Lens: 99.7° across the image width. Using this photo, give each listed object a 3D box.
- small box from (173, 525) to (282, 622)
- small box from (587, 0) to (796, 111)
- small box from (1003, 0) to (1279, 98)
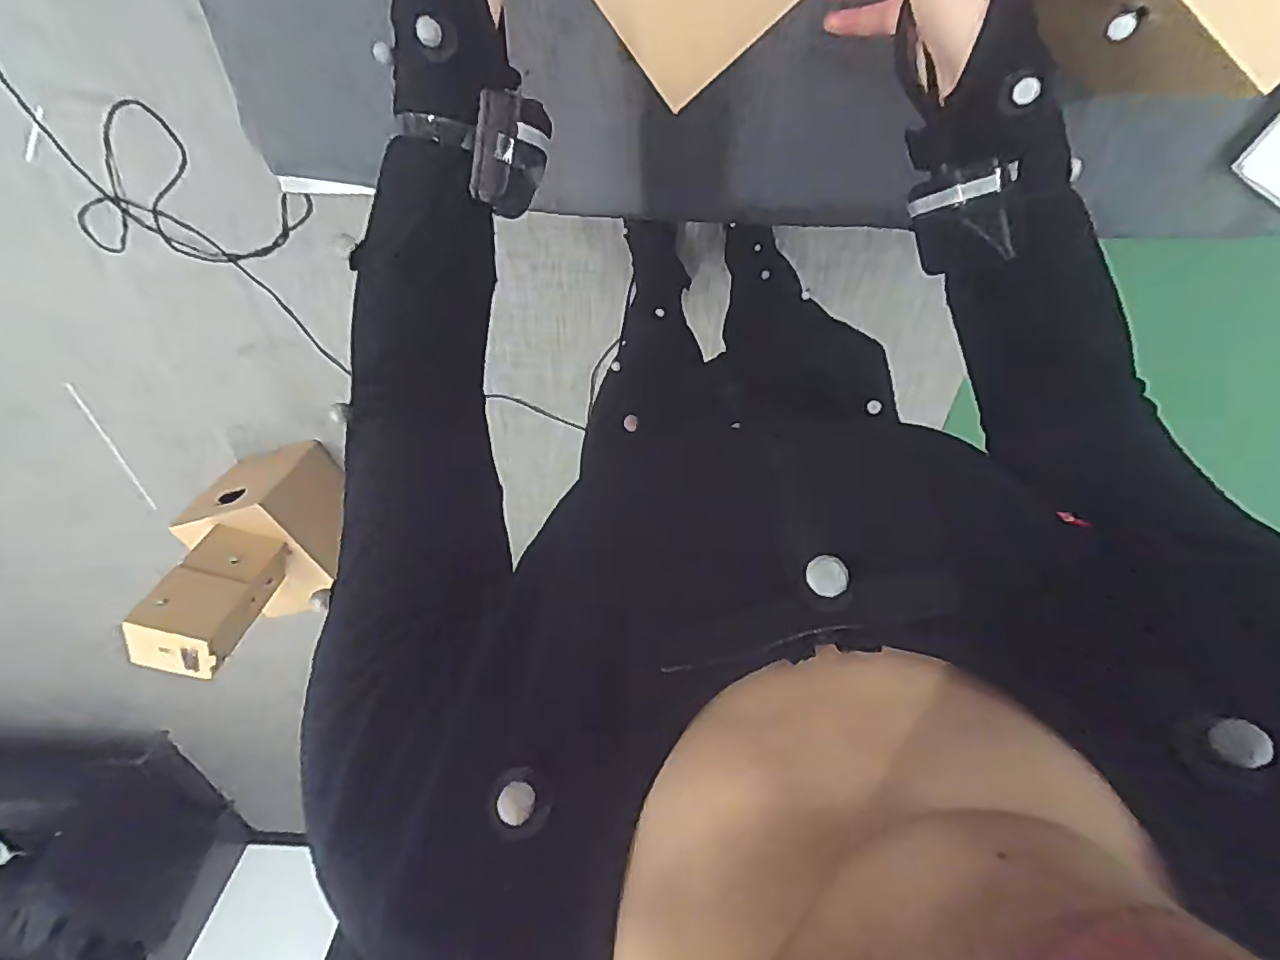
[{"bbox_3d":[-1.083,0.245,1.437,0.179,0.176,0.168,18,125,-14],"label":"small box"},{"bbox_3d":[0.032,-0.396,0.341,0.168,0.176,0.179,-25,134,33],"label":"small box"},{"bbox_3d":[0.378,-0.396,0.361,0.179,0.176,0.168,27,123,-15],"label":"small box"}]
